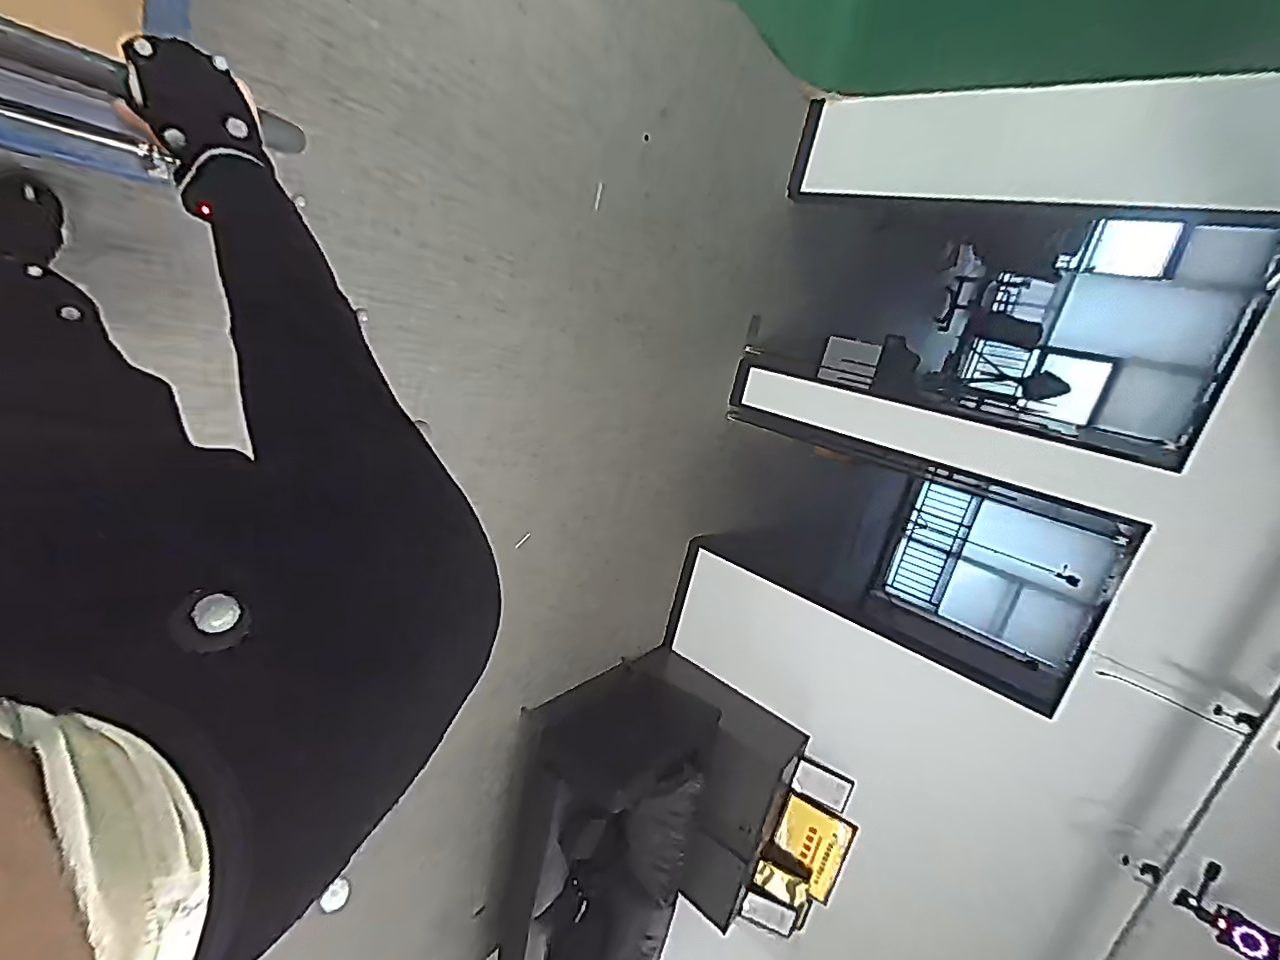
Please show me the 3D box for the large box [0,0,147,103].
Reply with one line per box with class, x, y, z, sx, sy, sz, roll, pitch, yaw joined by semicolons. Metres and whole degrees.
large box;-0.858;-0.758;0.664;0.320;0.320;0.408;-9;116;-51
